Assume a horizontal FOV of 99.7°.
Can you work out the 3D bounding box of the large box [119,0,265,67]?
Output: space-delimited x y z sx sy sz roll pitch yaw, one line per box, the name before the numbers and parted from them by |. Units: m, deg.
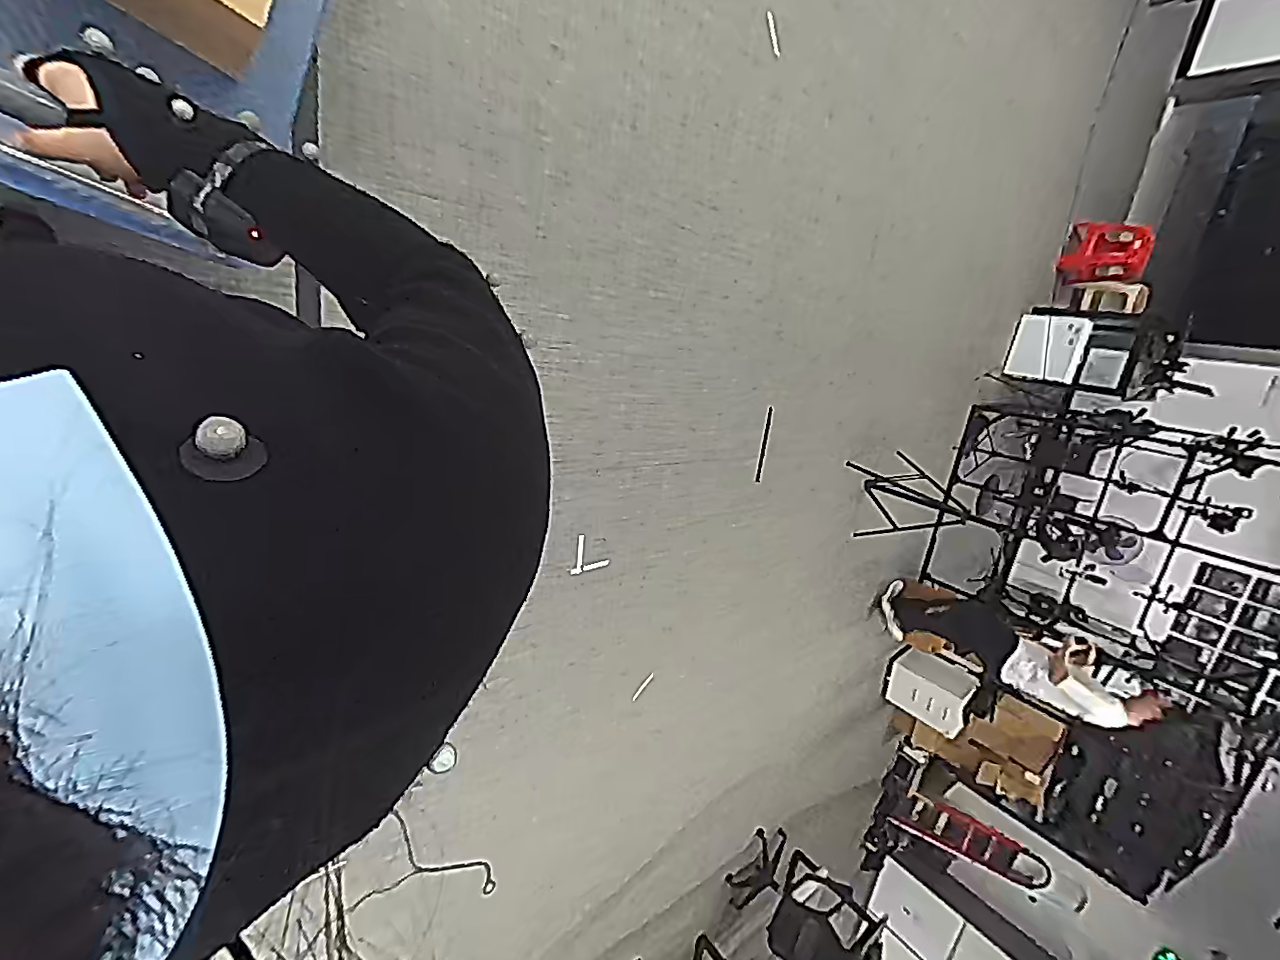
large box | -0.694 -0.843 0.685 0.408 0.320 0.320 16 96 -43
